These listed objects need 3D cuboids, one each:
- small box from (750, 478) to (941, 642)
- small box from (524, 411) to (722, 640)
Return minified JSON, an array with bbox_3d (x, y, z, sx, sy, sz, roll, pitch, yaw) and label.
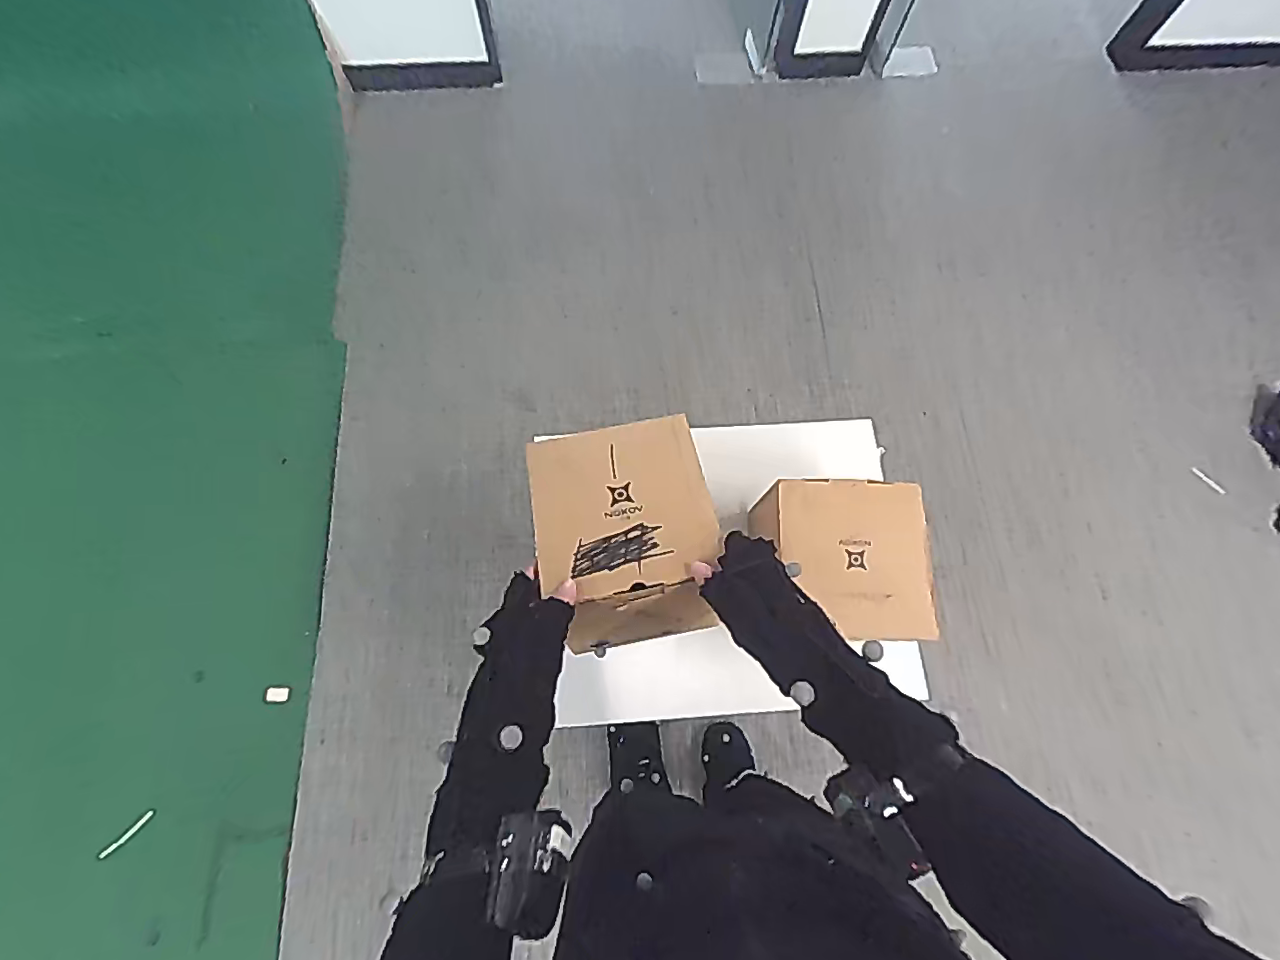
[{"bbox_3d":[0.233,0.105,0.661,0.168,0.176,0.179,1,74,0],"label":"small box"},{"bbox_3d":[-0.017,0.058,0.569,0.168,0.176,0.179,-11,59,-3],"label":"small box"}]
